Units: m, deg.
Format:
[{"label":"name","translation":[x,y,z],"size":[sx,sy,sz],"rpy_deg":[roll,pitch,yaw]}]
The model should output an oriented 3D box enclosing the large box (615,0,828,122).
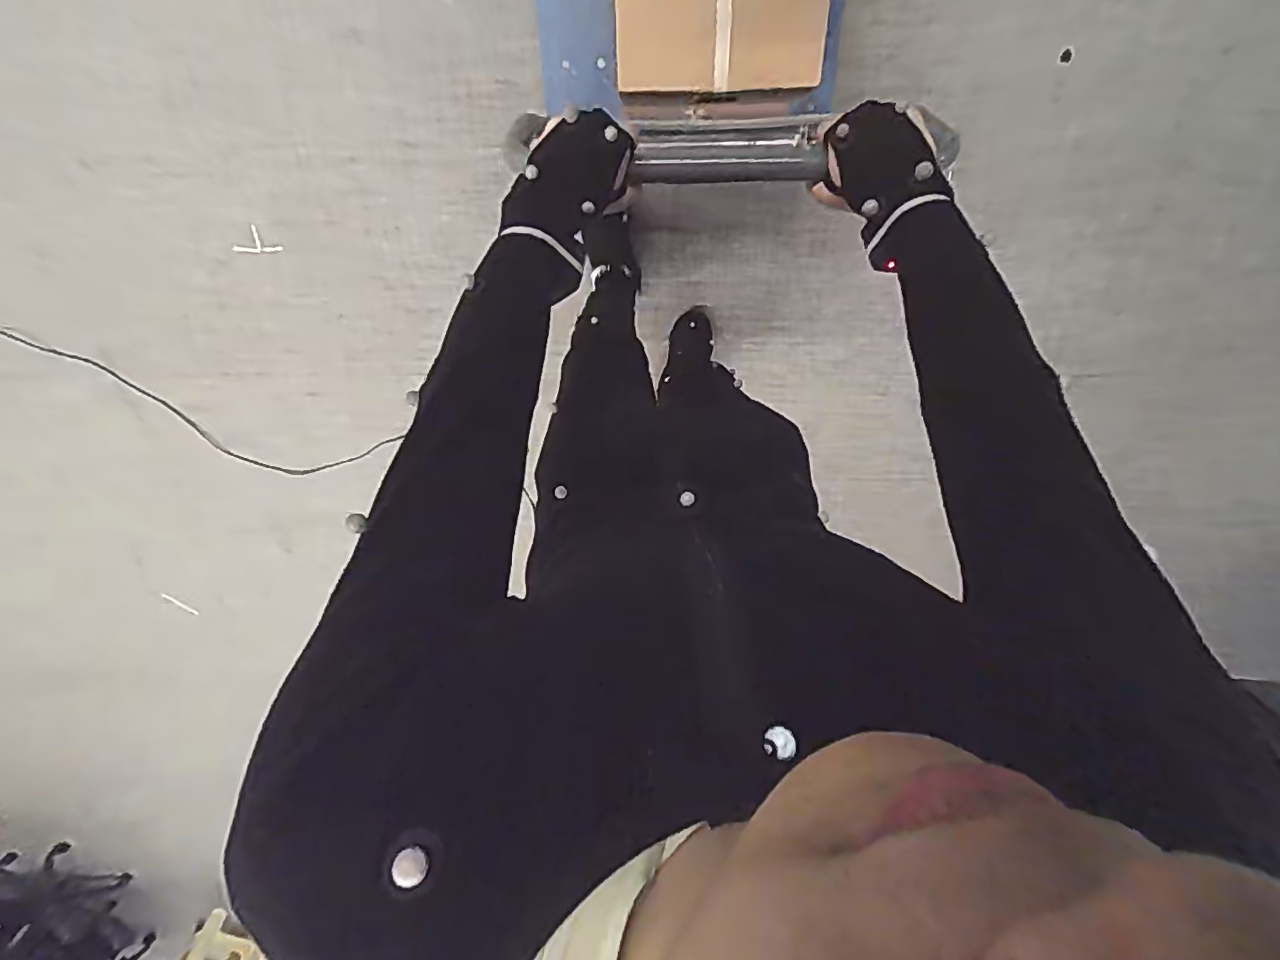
[{"label":"large box","translation":[0.120,-0.848,0.881],"size":[0.320,0.320,0.408],"rpy_deg":[-1,117,1]}]
